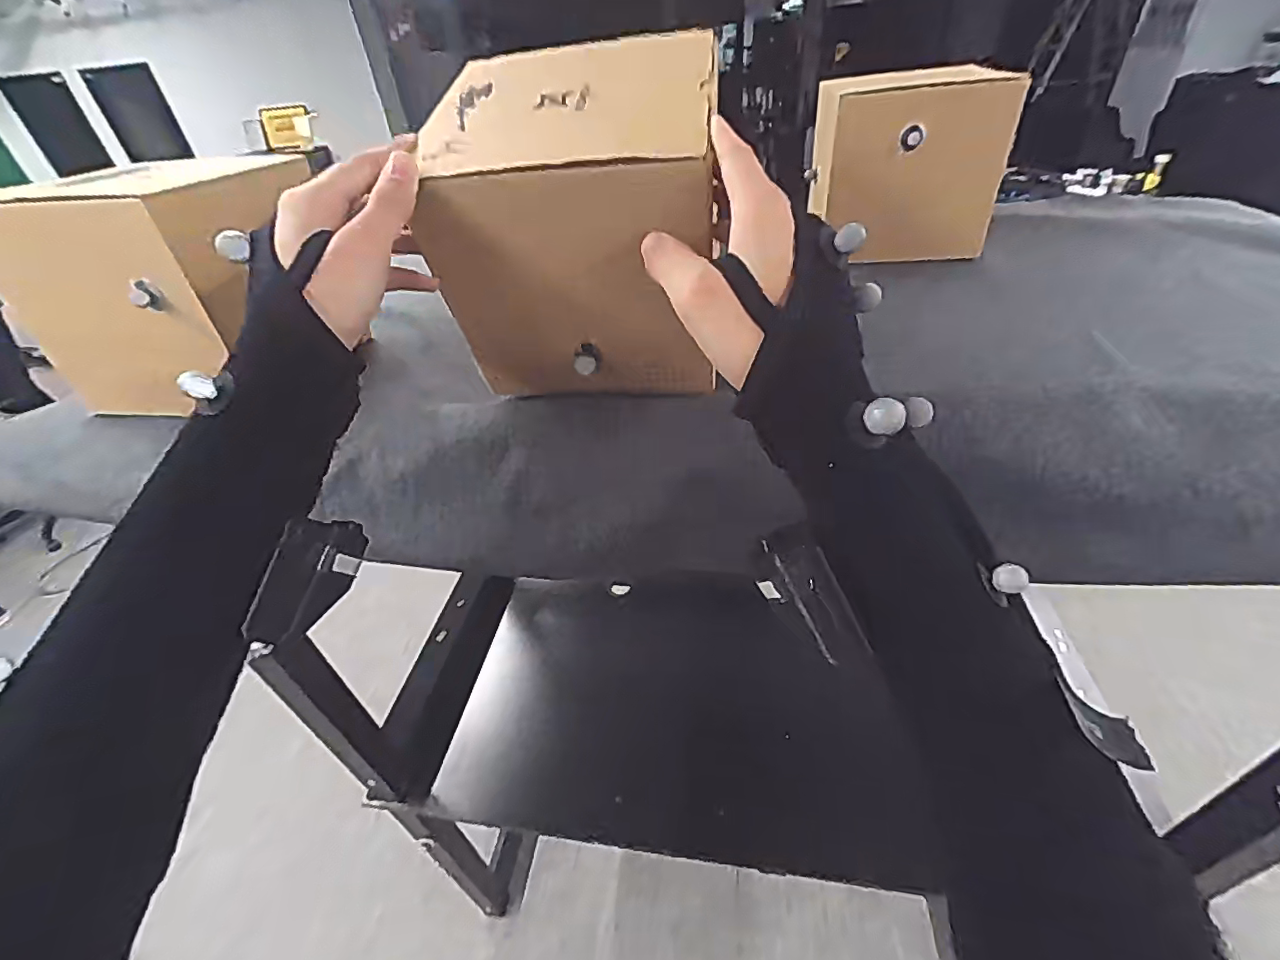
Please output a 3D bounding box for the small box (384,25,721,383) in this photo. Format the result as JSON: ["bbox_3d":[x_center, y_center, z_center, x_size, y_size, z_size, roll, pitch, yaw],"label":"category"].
[{"bbox_3d":[-0.034,-0.183,0.384,0.179,0.176,0.168,1,55,9],"label":"small box"}]

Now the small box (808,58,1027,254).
[{"bbox_3d":[0.293,-0.369,0.621,0.179,0.176,0.168,1,40,9],"label":"small box"}]
